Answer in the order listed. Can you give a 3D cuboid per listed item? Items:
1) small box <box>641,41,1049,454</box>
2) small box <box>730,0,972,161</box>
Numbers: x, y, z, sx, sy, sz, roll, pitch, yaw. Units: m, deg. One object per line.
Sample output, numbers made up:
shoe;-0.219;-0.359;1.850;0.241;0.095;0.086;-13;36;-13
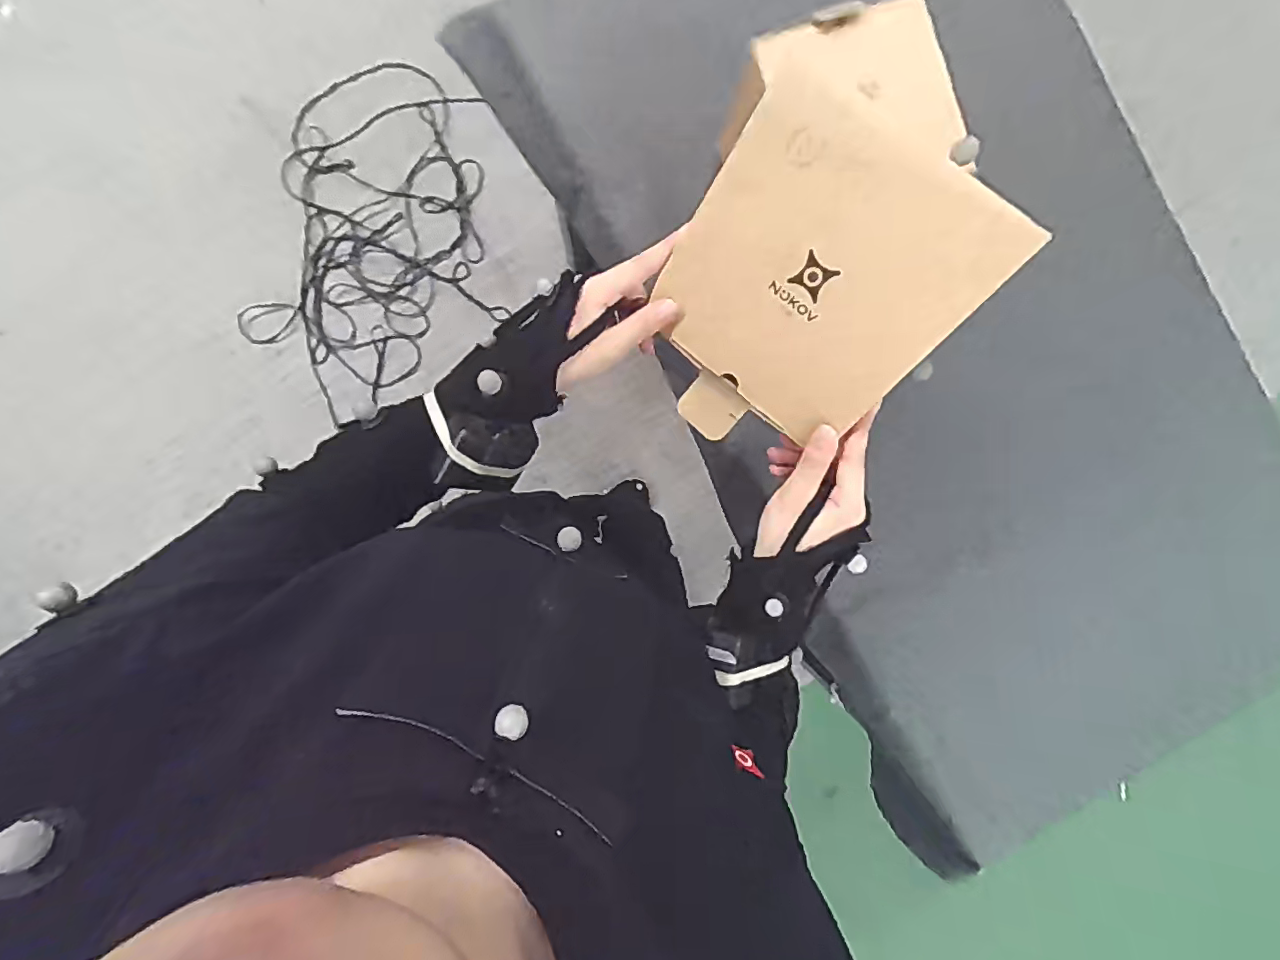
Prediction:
small box;0.134;-0.158;0.384;0.168;0.176;0.179;38;130;3
small box;0.206;-0.338;0.575;0.168;0.176;0.179;-17;92;-2
